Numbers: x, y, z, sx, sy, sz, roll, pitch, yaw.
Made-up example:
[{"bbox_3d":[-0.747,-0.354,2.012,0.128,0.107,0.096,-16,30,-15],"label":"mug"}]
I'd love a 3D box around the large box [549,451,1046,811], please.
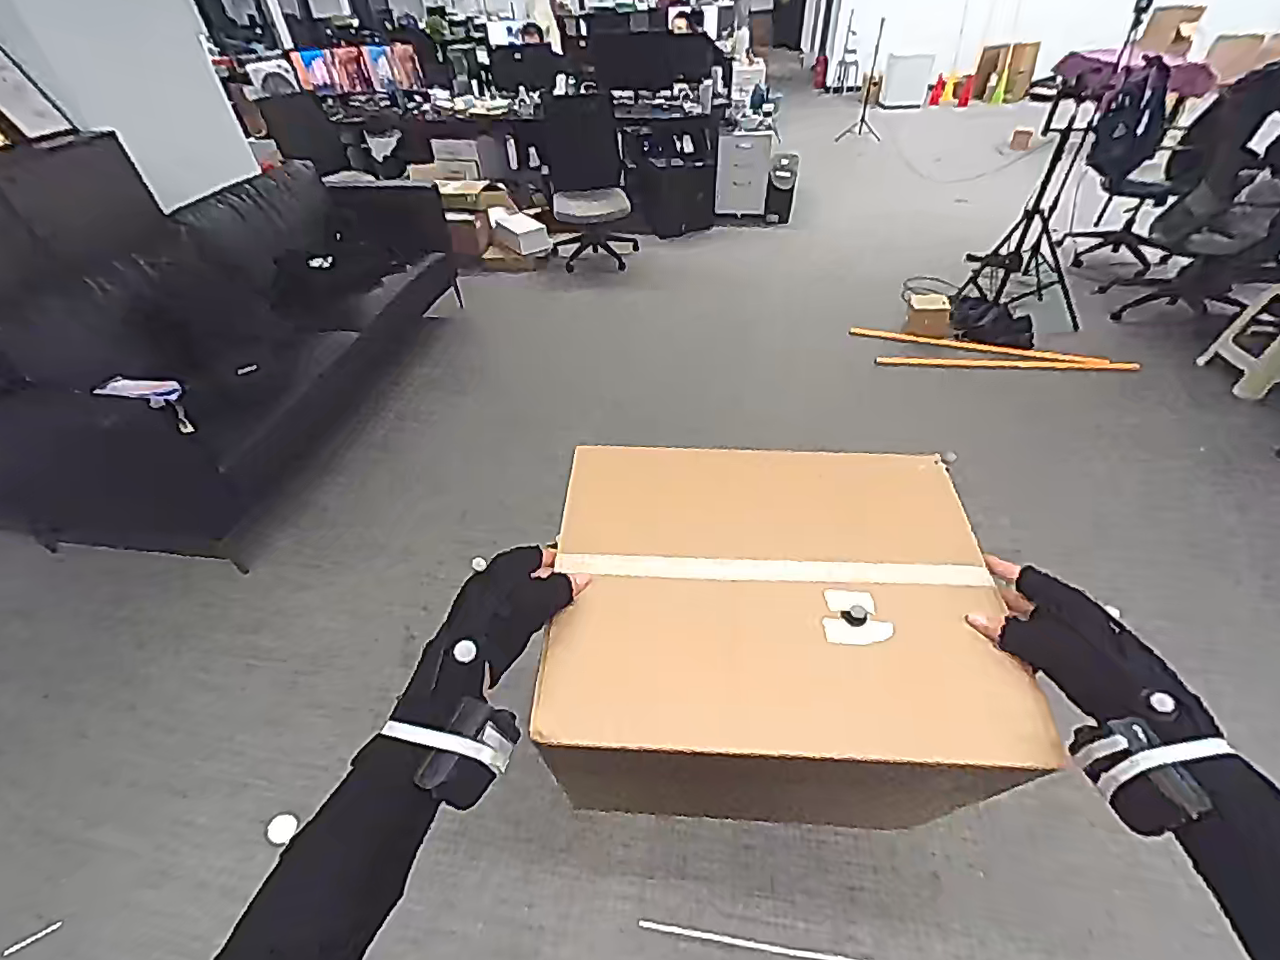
[{"bbox_3d":[0.126,0.183,0.635,0.408,0.320,0.320,2,51,1],"label":"large box"}]
